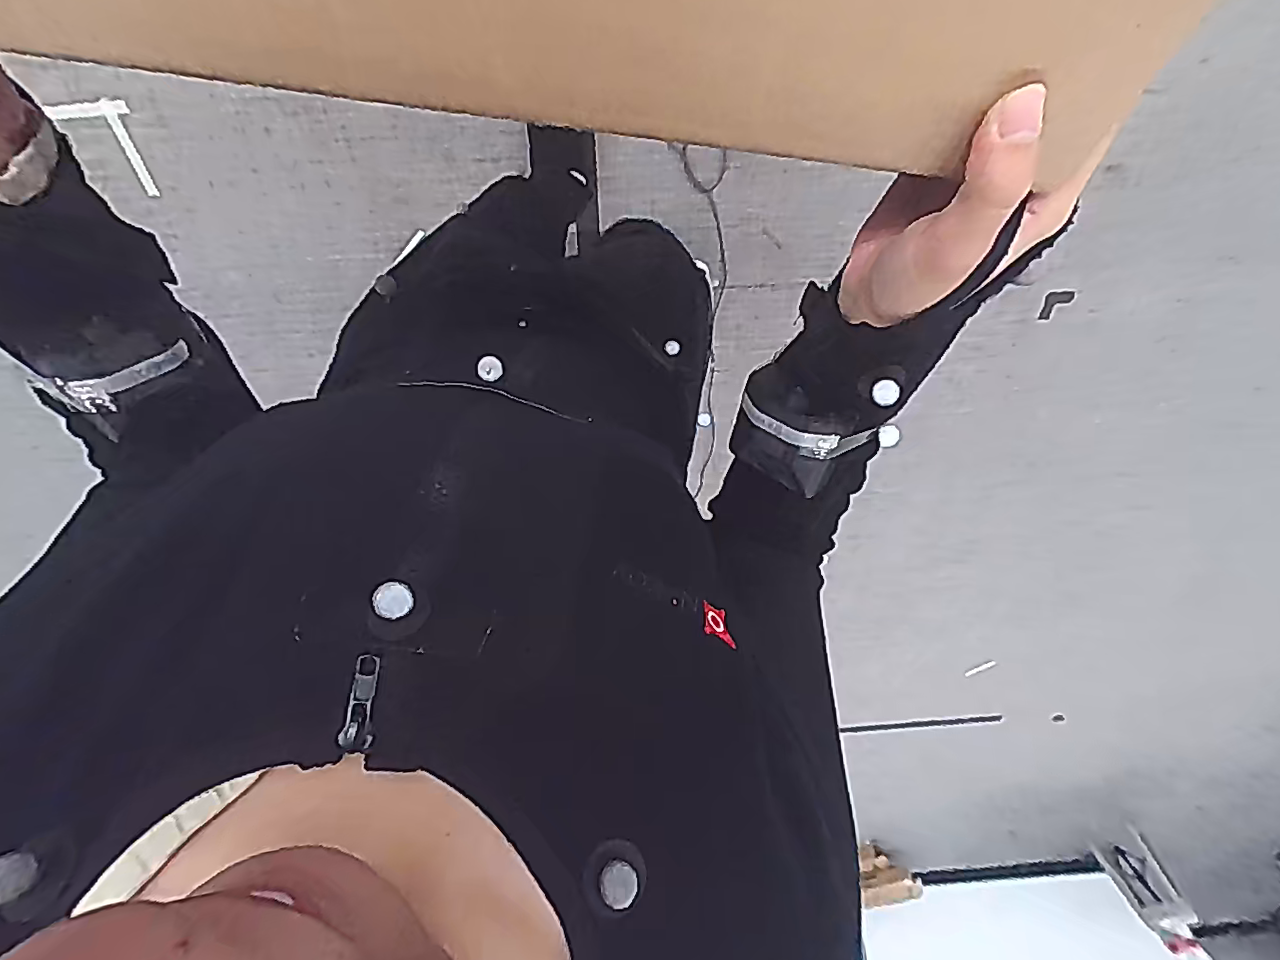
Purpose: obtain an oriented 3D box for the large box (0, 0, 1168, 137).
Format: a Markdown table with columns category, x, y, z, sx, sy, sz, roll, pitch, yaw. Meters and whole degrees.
| category | x | y | z | sx | sy | sz | roll | pitch | yaw |
| --- | --- | --- | --- | --- | --- | --- | --- | --- | --- |
| large box | -0.034 | -0.334 | 0.123 | 0.408 | 0.320 | 0.320 | 2 | 149 | -7 |
